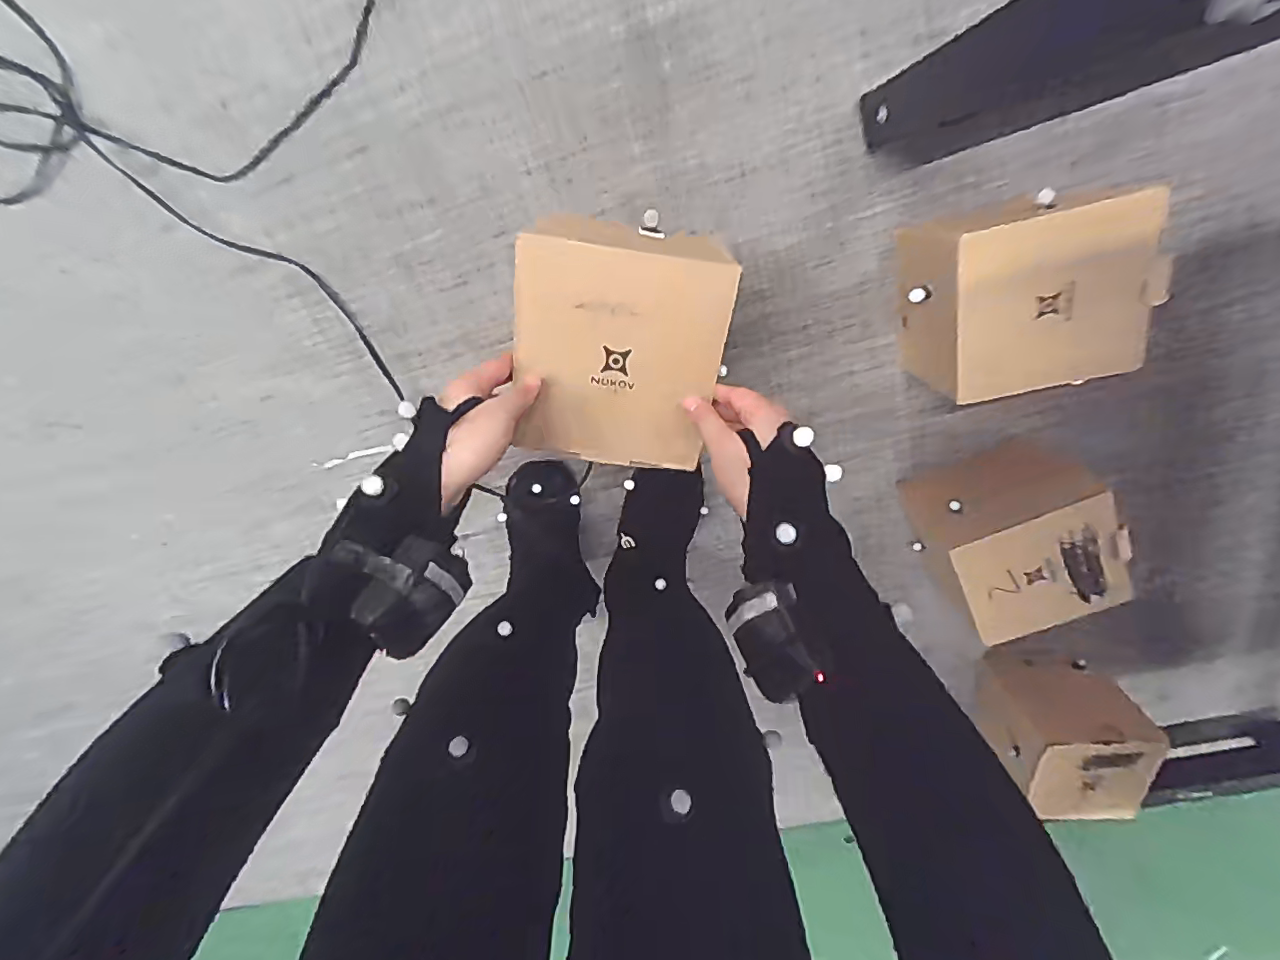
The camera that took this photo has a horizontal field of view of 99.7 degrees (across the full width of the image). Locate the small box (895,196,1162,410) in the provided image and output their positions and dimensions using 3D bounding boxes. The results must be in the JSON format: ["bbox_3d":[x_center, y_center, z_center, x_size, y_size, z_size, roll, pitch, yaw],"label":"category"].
[{"bbox_3d":[0.391,-0.190,0.583,0.179,0.176,0.168,-12,113,8],"label":"small box"}]

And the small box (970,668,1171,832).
[{"bbox_3d":[0.650,0.412,0.845,0.168,0.176,0.179,-3,116,5],"label":"small box"}]
